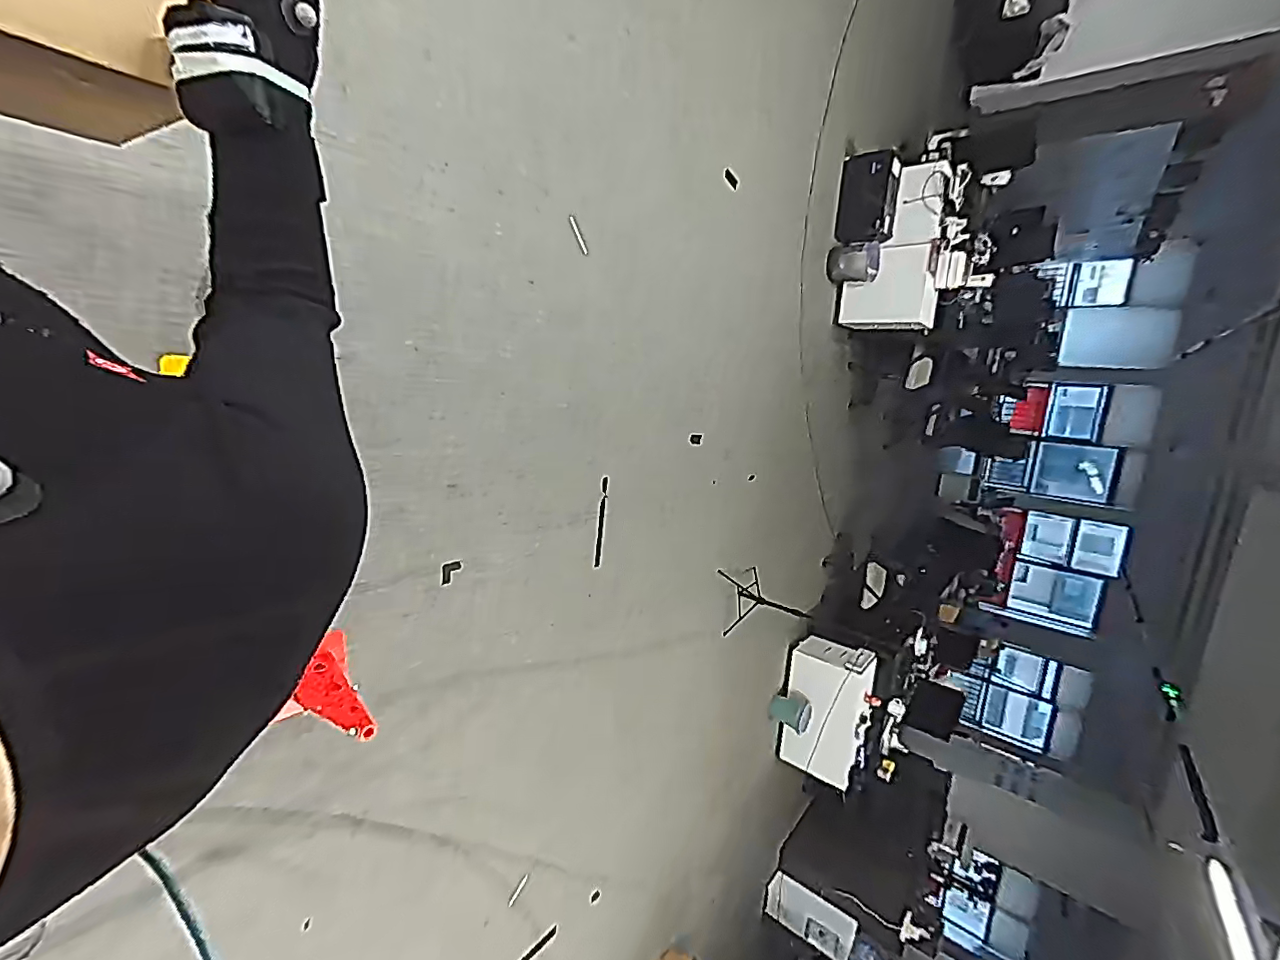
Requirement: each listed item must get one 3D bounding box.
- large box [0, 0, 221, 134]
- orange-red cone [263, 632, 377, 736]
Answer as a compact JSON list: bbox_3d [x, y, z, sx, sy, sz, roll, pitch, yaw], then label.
[{"bbox_3d":[-0.524,-0.437,0.281,0.408,0.320,0.320,-11,114,-53],"label":"large box"},{"bbox_3d":[-0.773,0.554,1.368,0.198,0.360,0.199,-12,108,-51],"label":"orange-red cone"}]
